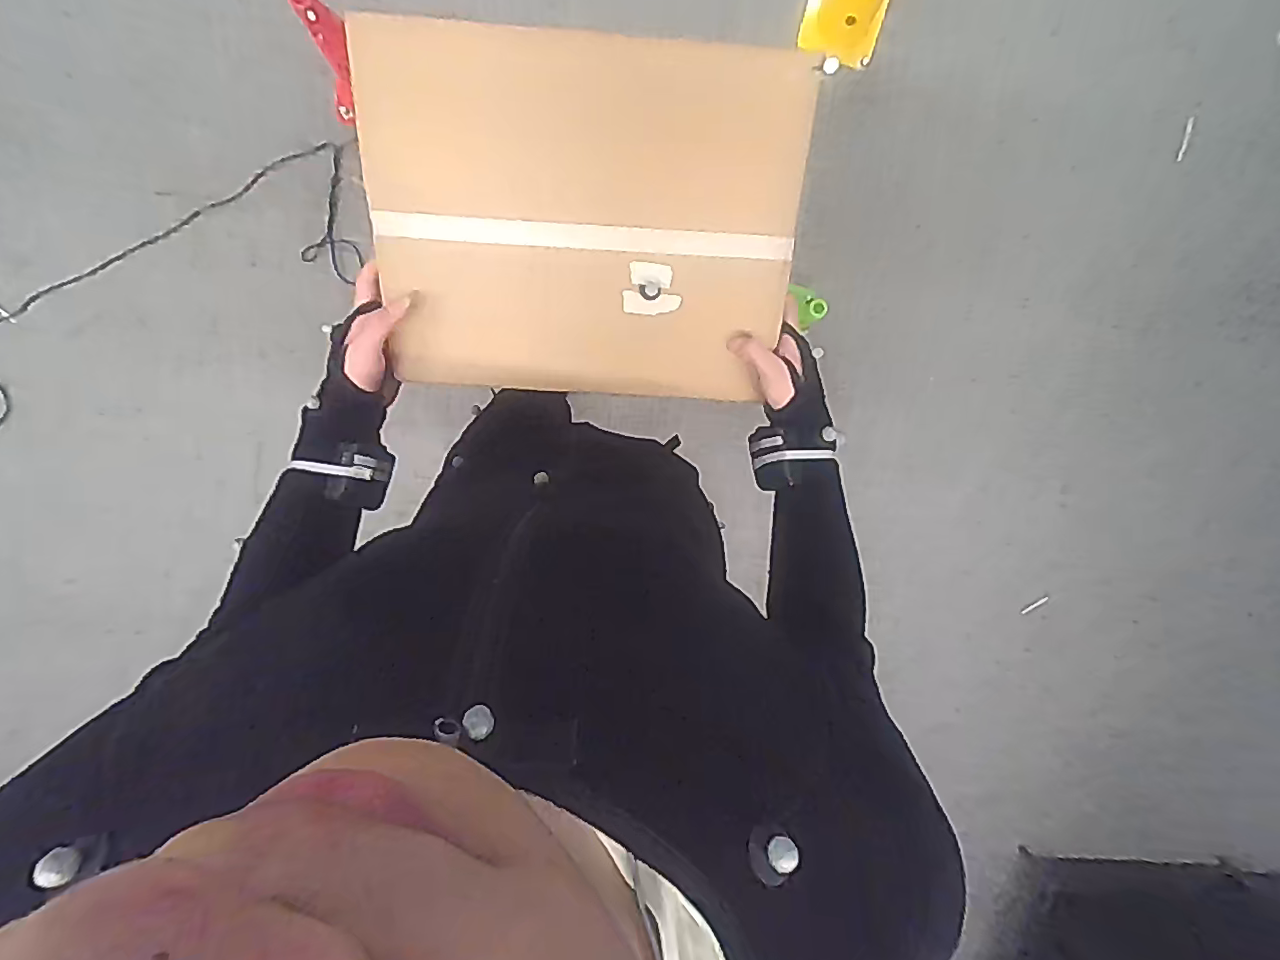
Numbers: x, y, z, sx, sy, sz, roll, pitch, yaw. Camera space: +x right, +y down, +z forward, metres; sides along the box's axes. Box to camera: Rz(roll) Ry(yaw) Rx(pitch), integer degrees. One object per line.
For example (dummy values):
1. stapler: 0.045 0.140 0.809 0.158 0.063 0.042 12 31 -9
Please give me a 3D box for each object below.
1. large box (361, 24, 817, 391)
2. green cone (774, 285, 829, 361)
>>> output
1. large box: -0.053 -0.304 0.664 0.408 0.320 0.320 2 116 -3
2. green cone: 0.394 -0.420 1.376 0.200 0.368 0.202 11 101 -6
